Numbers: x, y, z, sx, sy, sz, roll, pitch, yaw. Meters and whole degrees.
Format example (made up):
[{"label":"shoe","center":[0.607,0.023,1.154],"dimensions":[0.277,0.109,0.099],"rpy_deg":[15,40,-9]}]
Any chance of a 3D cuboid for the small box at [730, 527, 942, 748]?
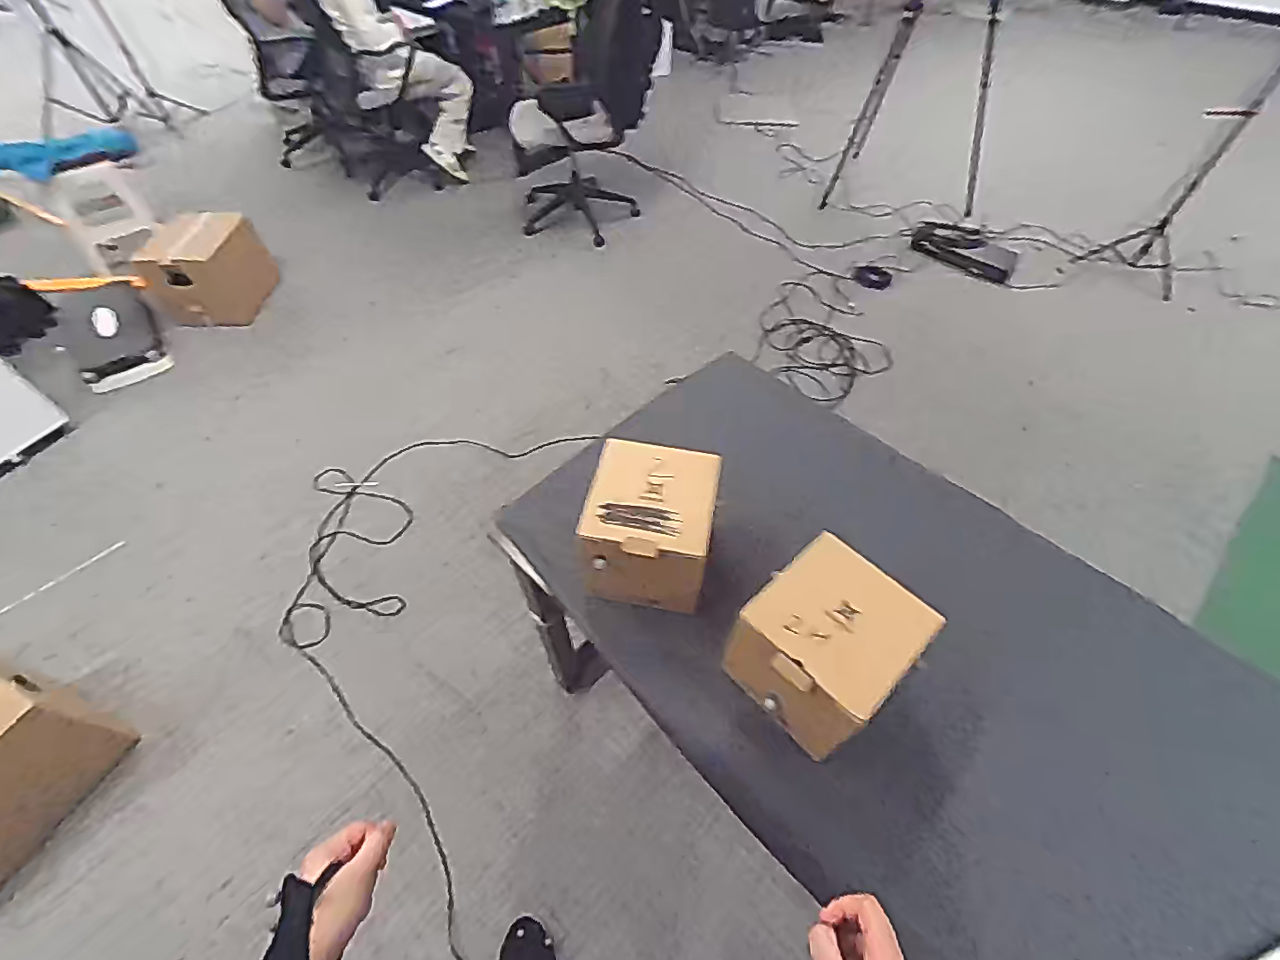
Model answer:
[{"label":"small box","center":[0.233,0.200,0.686],"dimensions":[0.179,0.176,0.168],"rpy_deg":[-36,59,-25]}]
